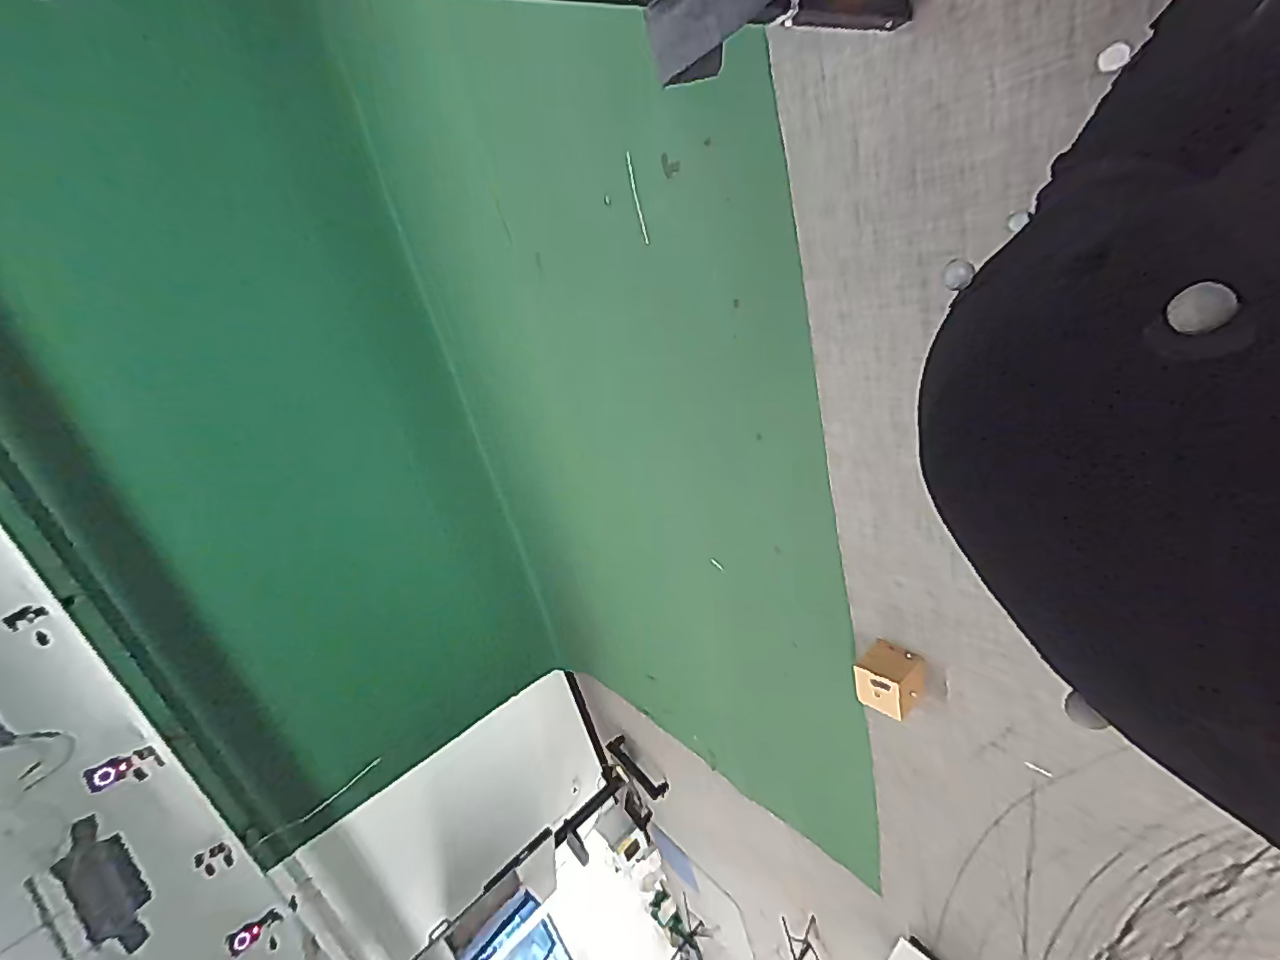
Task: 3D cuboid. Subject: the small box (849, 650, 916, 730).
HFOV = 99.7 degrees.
[{"bbox_3d":[0.875,0.746,1.944,0.168,0.176,0.179,13,124,50],"label":"small box"}]
